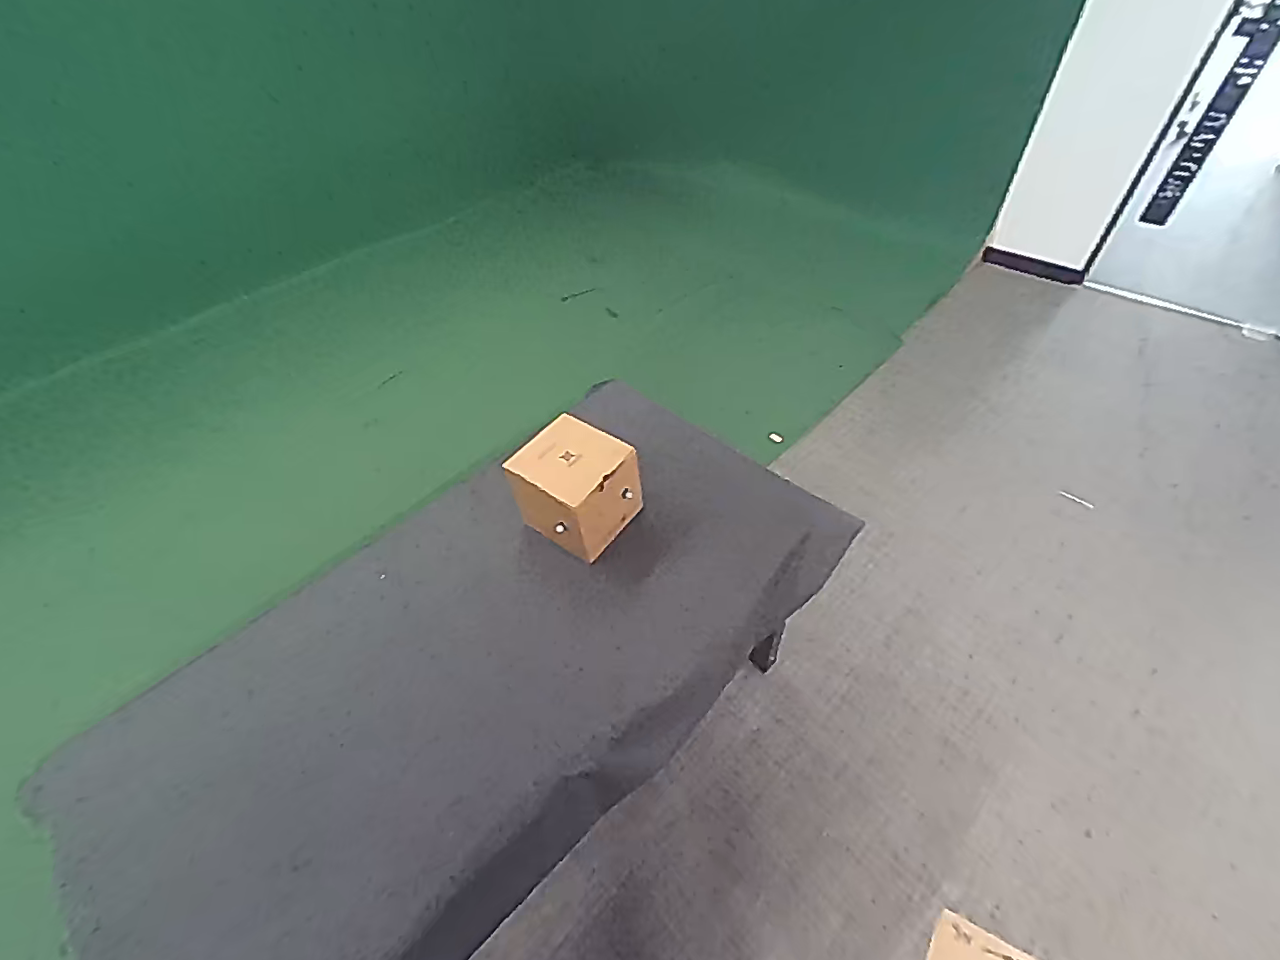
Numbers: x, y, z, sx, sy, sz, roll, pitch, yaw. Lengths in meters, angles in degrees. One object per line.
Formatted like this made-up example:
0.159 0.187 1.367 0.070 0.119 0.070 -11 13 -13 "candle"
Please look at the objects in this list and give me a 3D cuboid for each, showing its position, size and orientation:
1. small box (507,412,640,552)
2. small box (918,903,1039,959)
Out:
-0.113 0.009 1.007 0.179 0.176 0.168 27 55 27 "small box"
0.396 0.661 0.616 0.168 0.176 0.179 12 16 36 "small box"
